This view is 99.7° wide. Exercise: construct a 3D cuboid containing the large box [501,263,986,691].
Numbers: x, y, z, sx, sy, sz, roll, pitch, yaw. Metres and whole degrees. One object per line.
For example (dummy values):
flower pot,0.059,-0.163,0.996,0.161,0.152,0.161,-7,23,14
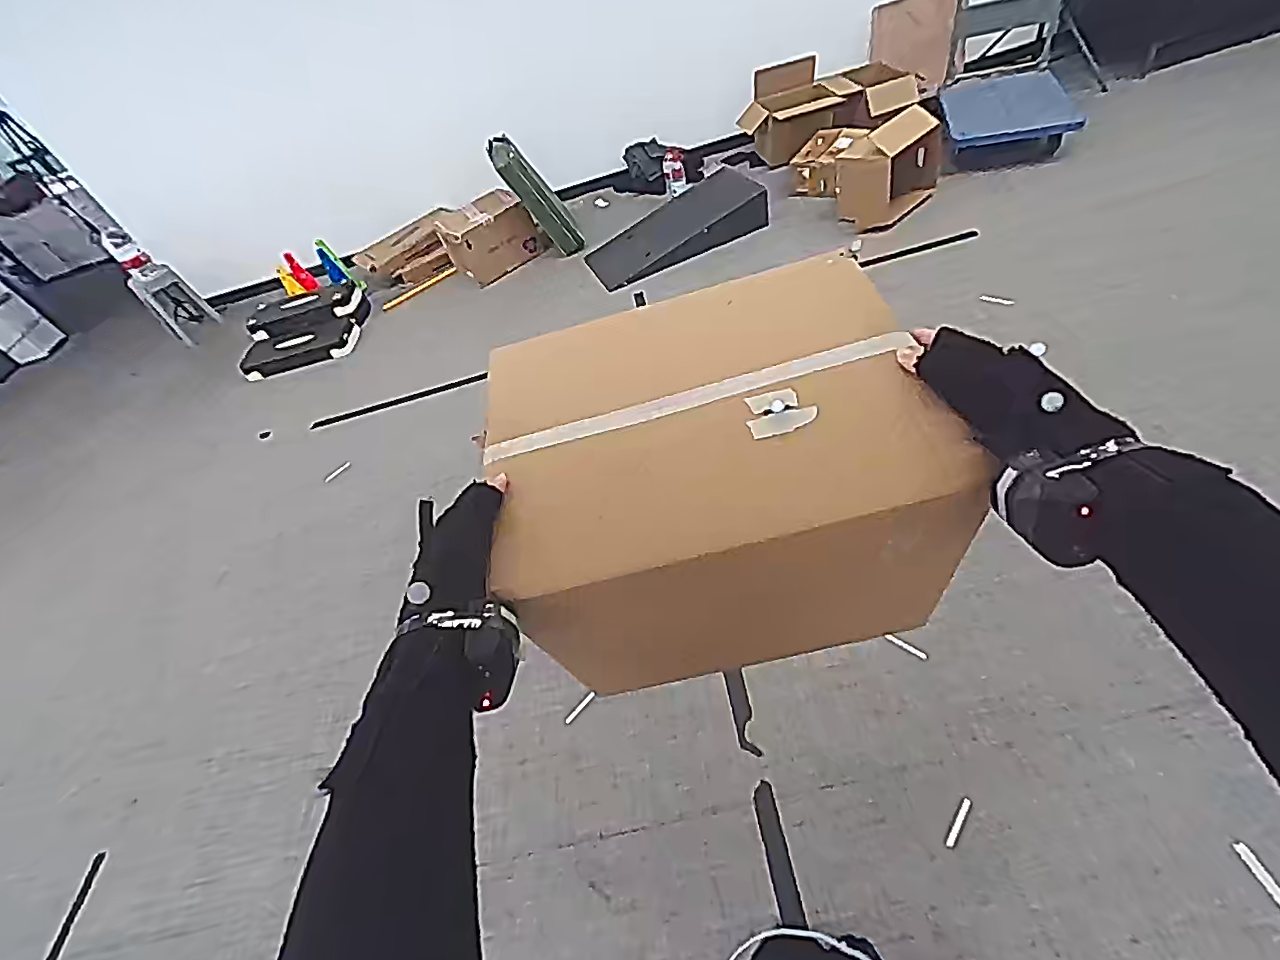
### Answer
large box,0.085,0.014,0.637,0.408,0.320,0.320,-15,54,4
